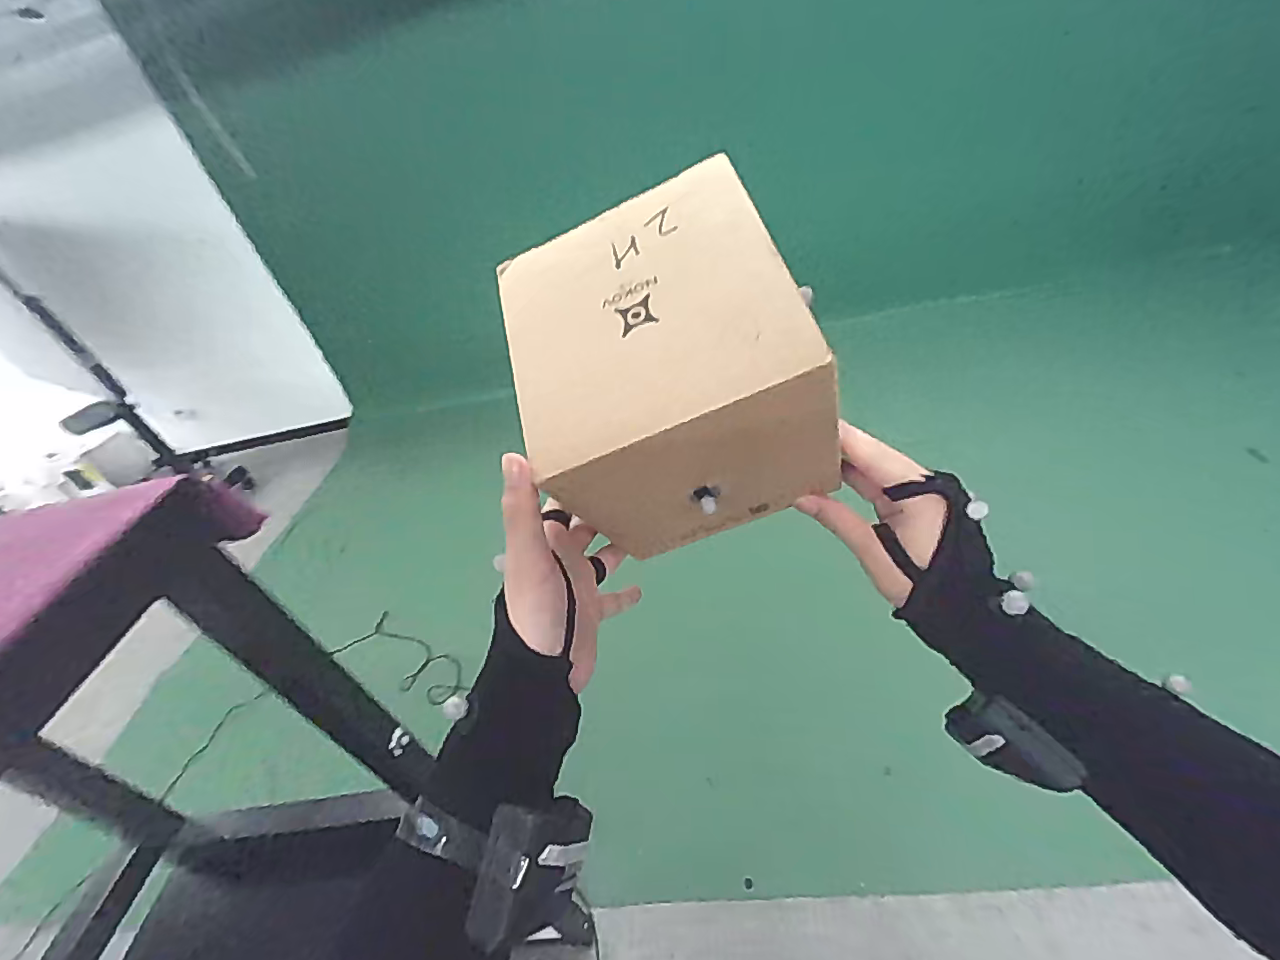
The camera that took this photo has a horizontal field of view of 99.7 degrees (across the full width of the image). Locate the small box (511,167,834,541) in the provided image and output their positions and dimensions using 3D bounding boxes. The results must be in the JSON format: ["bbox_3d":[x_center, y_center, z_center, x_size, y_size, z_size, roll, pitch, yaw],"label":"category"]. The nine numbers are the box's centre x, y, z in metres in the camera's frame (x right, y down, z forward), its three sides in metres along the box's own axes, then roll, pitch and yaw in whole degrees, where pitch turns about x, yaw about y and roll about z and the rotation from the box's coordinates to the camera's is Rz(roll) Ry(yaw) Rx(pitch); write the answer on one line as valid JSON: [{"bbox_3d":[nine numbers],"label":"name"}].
[{"bbox_3d":[0.030,-0.068,0.391,0.168,0.176,0.179,-21,61,12],"label":"small box"}]
